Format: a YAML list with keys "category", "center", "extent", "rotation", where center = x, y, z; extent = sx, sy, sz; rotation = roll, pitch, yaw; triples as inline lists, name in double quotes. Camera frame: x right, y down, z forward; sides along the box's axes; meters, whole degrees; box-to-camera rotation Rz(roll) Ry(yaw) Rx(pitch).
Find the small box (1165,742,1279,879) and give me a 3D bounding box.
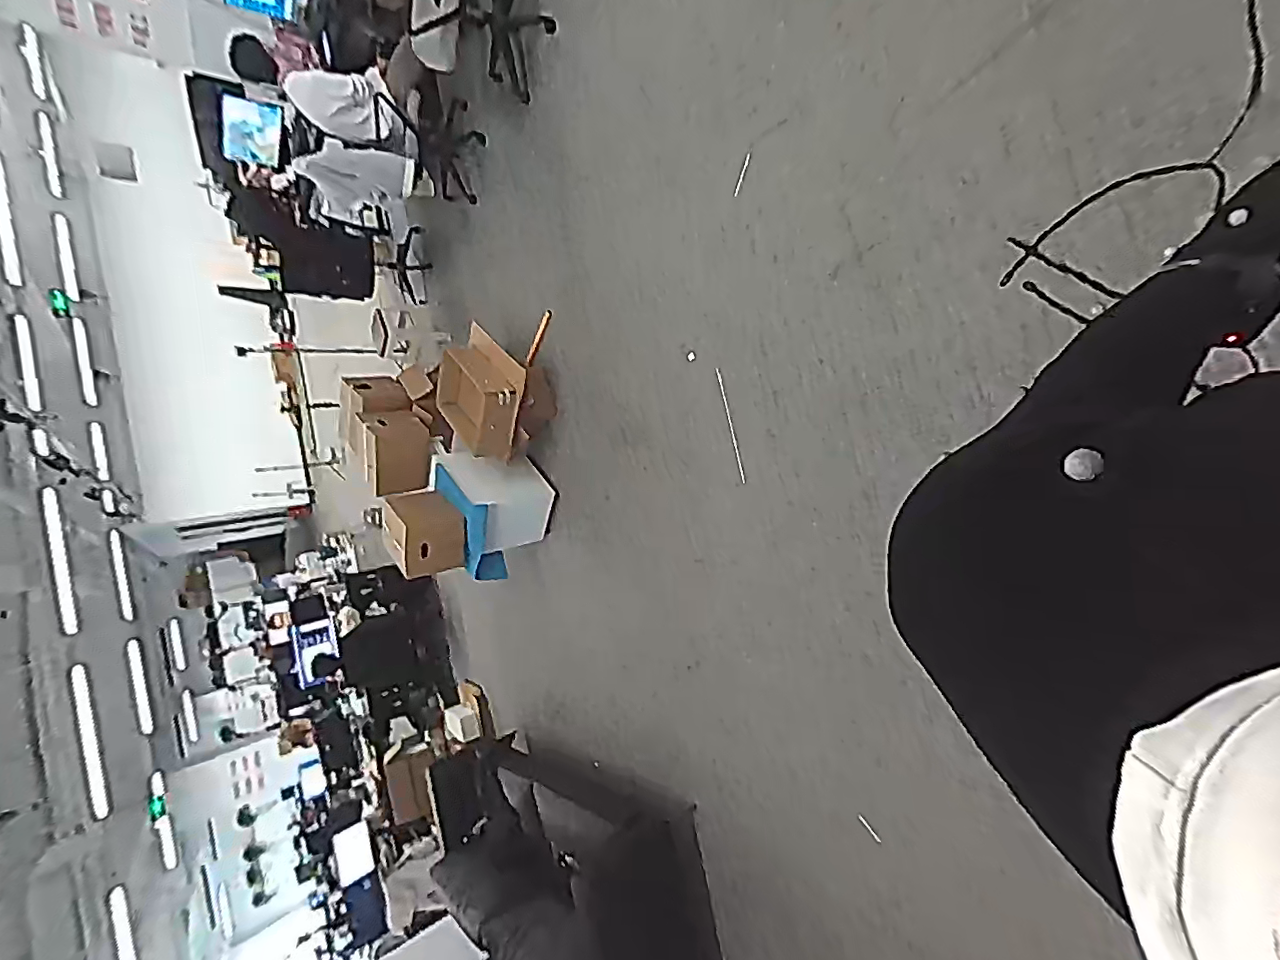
- category: "small box"
  center: [1.257, 0.694, 1.157]
  extent: [0.168, 0.176, 0.179]
  rotation: [-12, 90, 50]
